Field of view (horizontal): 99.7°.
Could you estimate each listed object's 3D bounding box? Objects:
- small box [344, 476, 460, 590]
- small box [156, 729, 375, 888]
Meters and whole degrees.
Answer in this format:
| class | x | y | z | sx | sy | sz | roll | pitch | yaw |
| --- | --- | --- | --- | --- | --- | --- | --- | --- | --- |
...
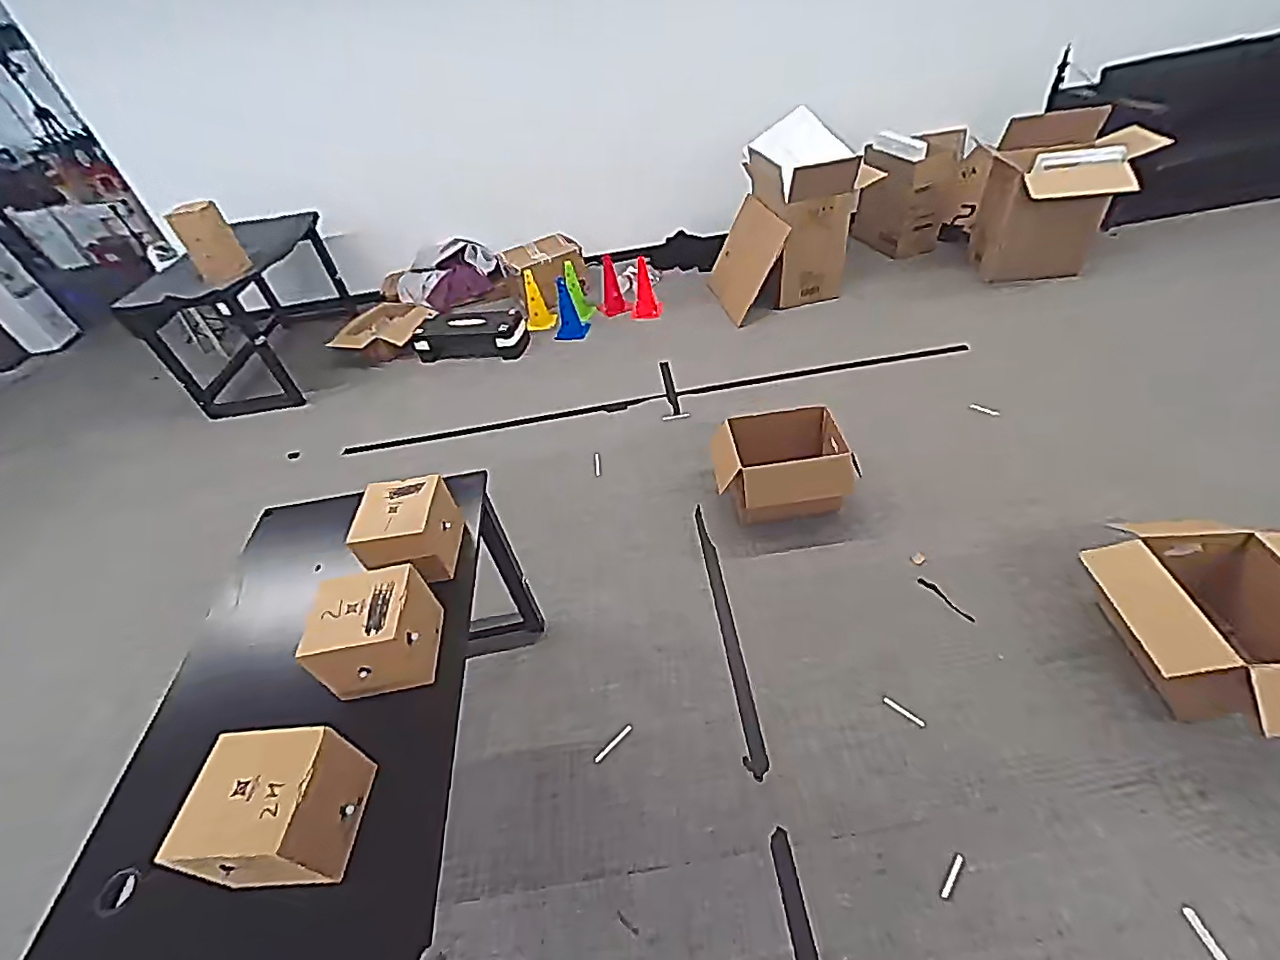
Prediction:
| class | x | y | z | sx | sy | sz | roll | pitch | yaw |
| --- | --- | --- | --- | --- | --- | --- | --- | --- | --- |
| small box | -0.515 | 0.118 | 1.202 | 0.168 | 0.176 | 0.179 | -9 | 45 | 2 |
| small box | -0.541 | 0.496 | 0.812 | 0.179 | 0.176 | 0.168 | -6 | 44 | 4 |
